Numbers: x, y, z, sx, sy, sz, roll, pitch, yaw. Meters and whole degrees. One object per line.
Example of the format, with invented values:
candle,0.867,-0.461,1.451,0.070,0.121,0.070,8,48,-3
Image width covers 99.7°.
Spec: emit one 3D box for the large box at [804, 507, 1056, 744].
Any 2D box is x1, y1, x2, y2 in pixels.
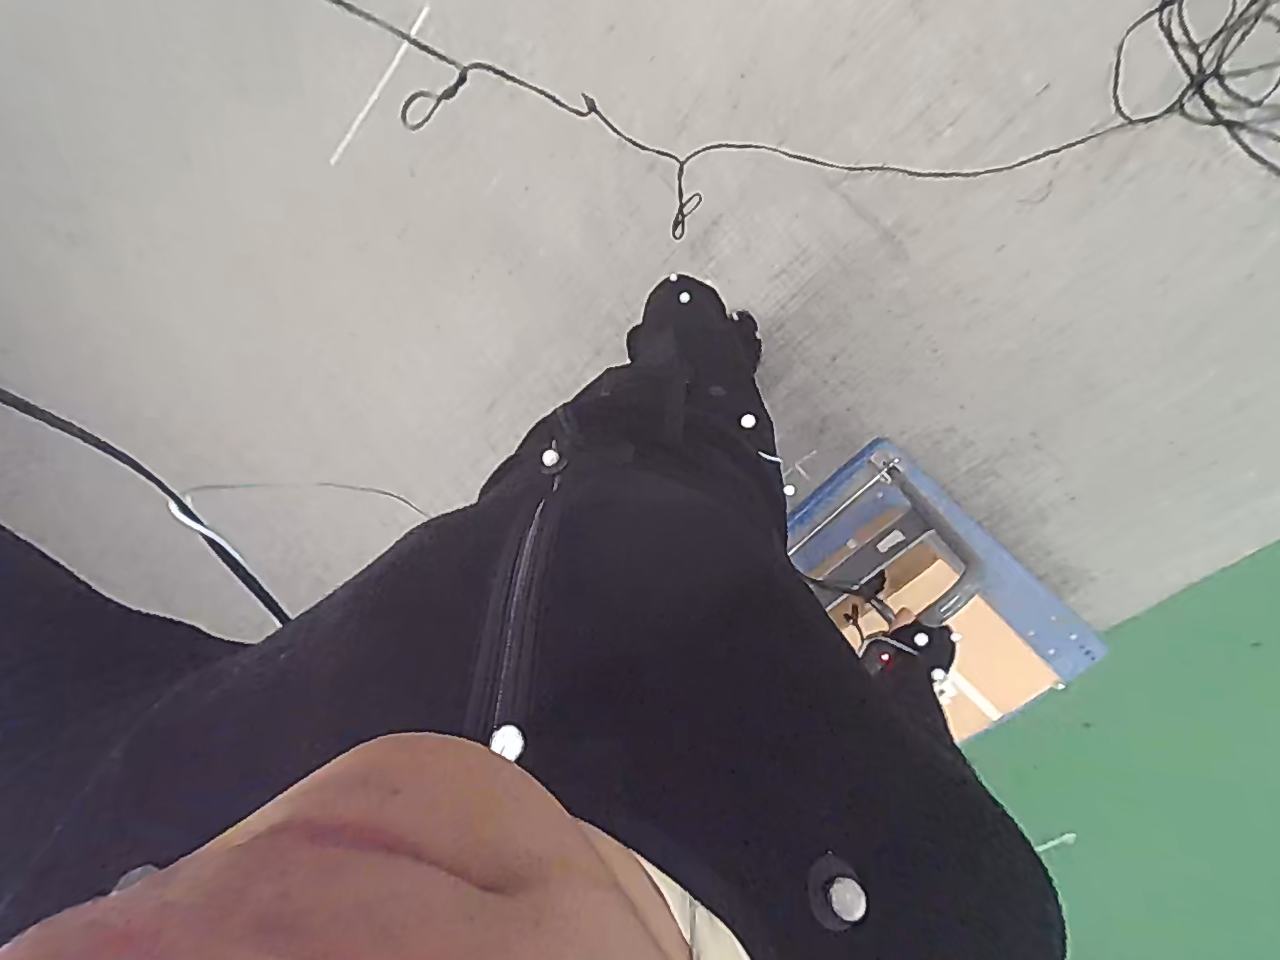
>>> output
large box,0.674,0.341,1.332,0.408,0.320,0.320,43,110,-8
